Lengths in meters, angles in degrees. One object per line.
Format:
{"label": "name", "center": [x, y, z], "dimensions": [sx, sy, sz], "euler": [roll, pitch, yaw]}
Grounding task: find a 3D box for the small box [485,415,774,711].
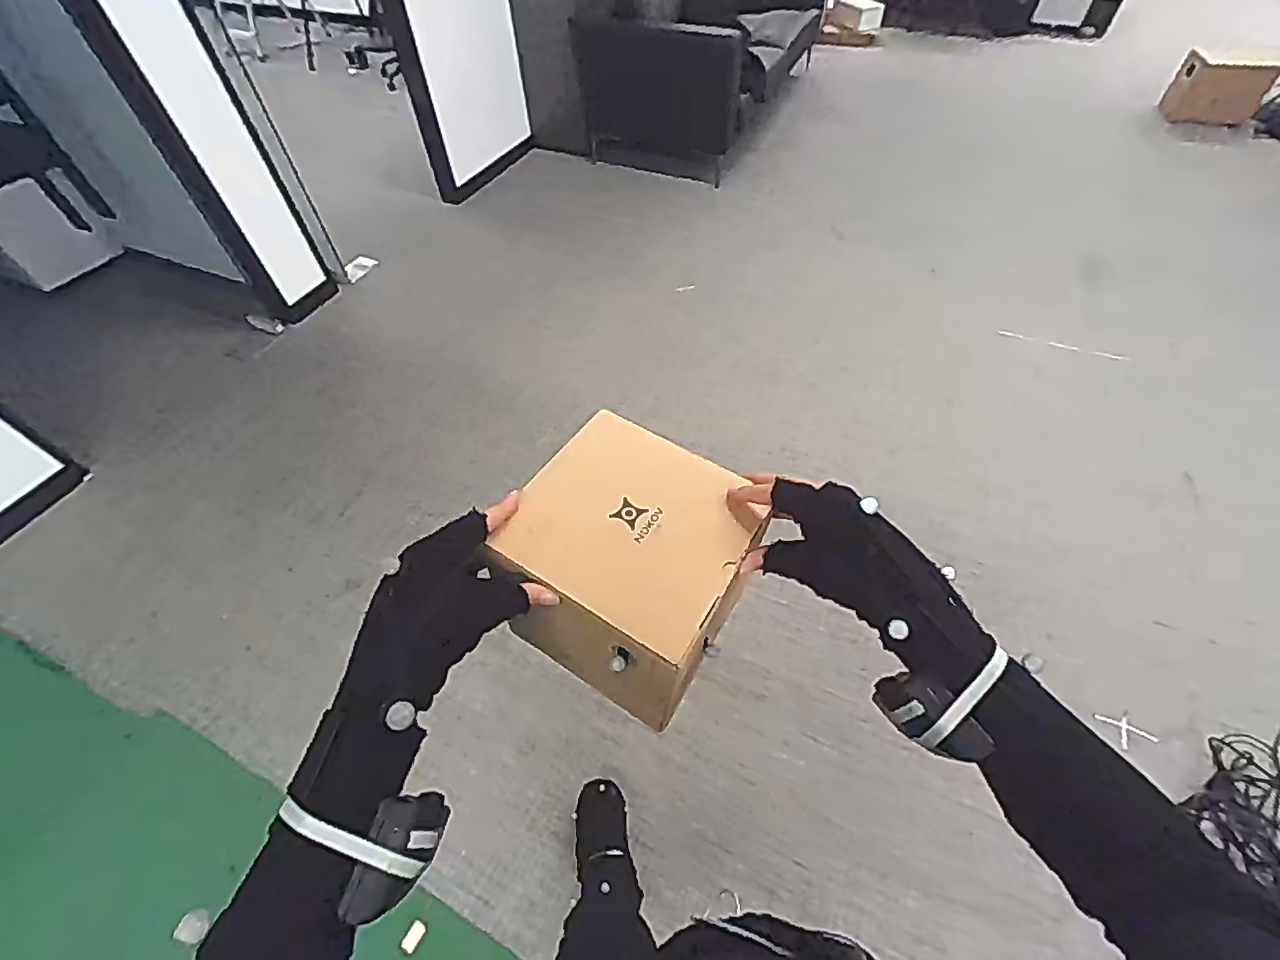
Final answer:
{"label": "small box", "center": [-0.009, 0.079, 0.490], "dimensions": [0.179, 0.176, 0.168], "euler": [29, 56, 17]}
